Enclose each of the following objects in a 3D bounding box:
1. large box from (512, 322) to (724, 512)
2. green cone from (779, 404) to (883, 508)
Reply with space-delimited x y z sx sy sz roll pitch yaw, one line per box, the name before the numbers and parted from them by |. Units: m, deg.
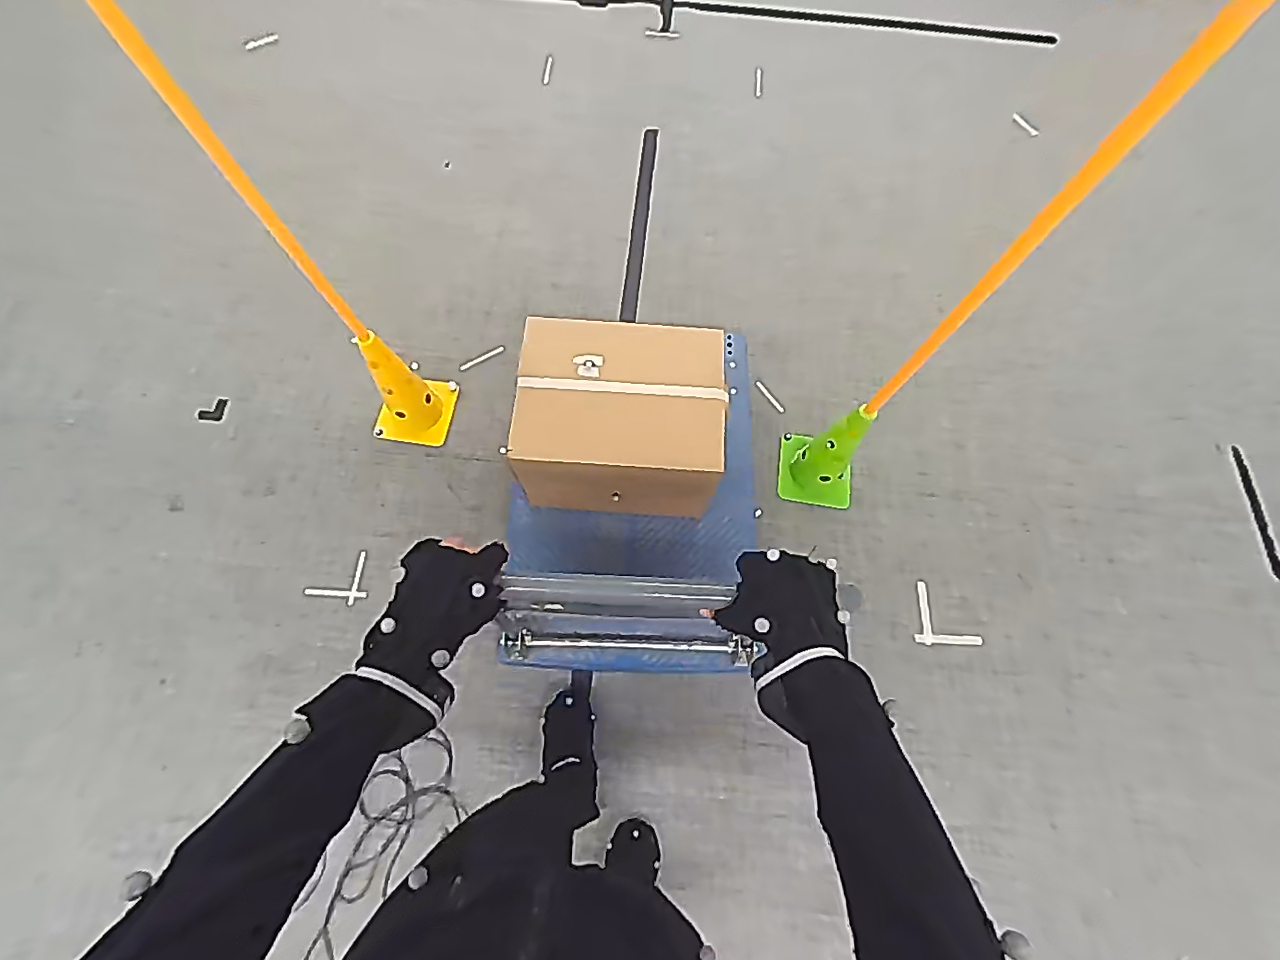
large box | -0.036 -0.121 1.196 0.408 0.320 0.320 4 70 0
green cone | 0.502 -0.086 1.357 0.202 0.368 0.200 10 70 0
